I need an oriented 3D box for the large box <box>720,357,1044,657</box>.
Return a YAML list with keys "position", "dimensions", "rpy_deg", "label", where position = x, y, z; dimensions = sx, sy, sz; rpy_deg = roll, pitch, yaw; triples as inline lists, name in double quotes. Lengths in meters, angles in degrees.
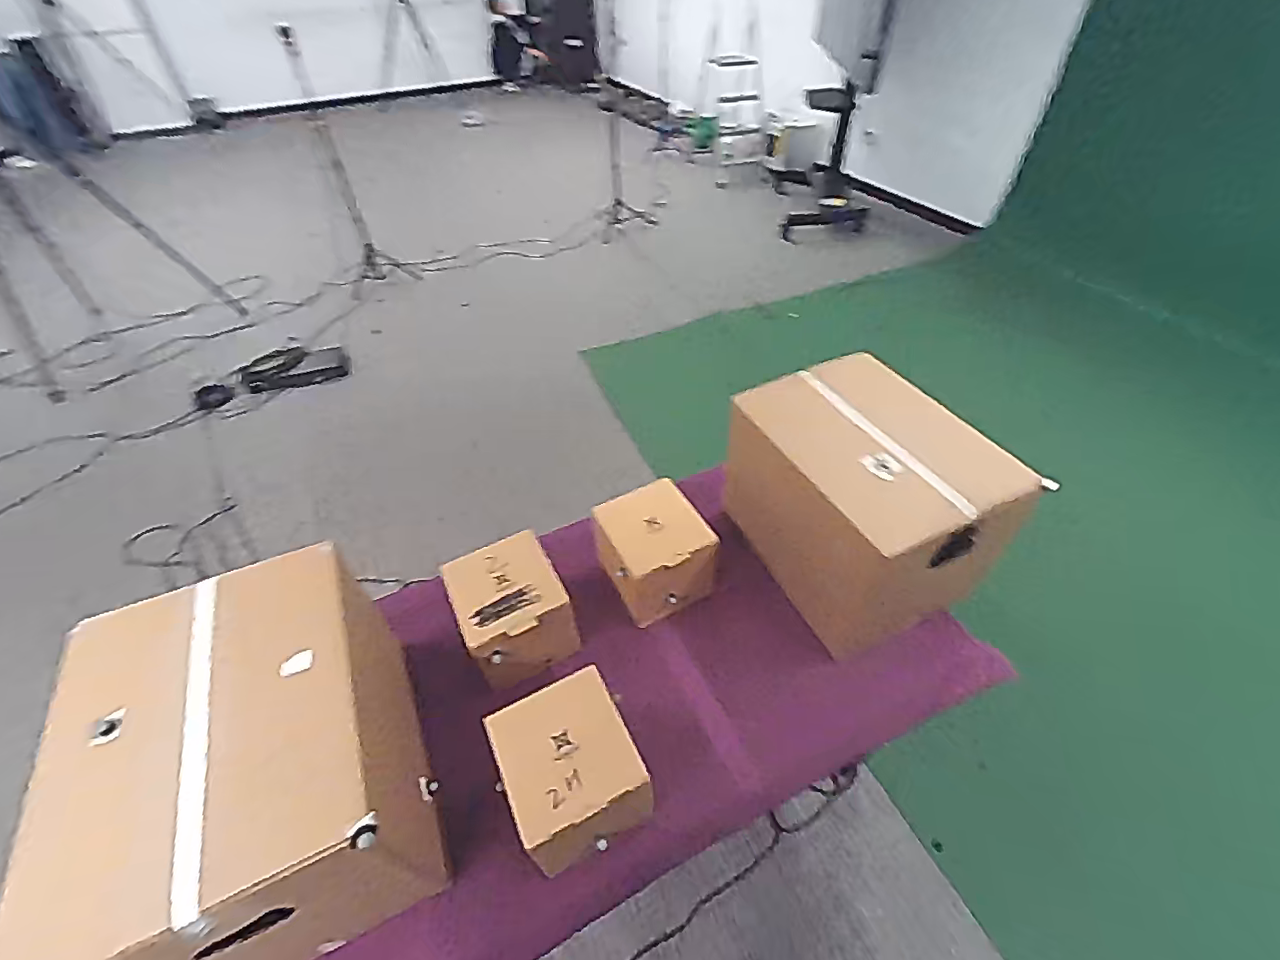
- position: [0.390, 0.035, 1.000]
  dimensions: [0.320, 0.320, 0.408]
  rpy_deg: [-21, 49, -16]
  label: "large box"
